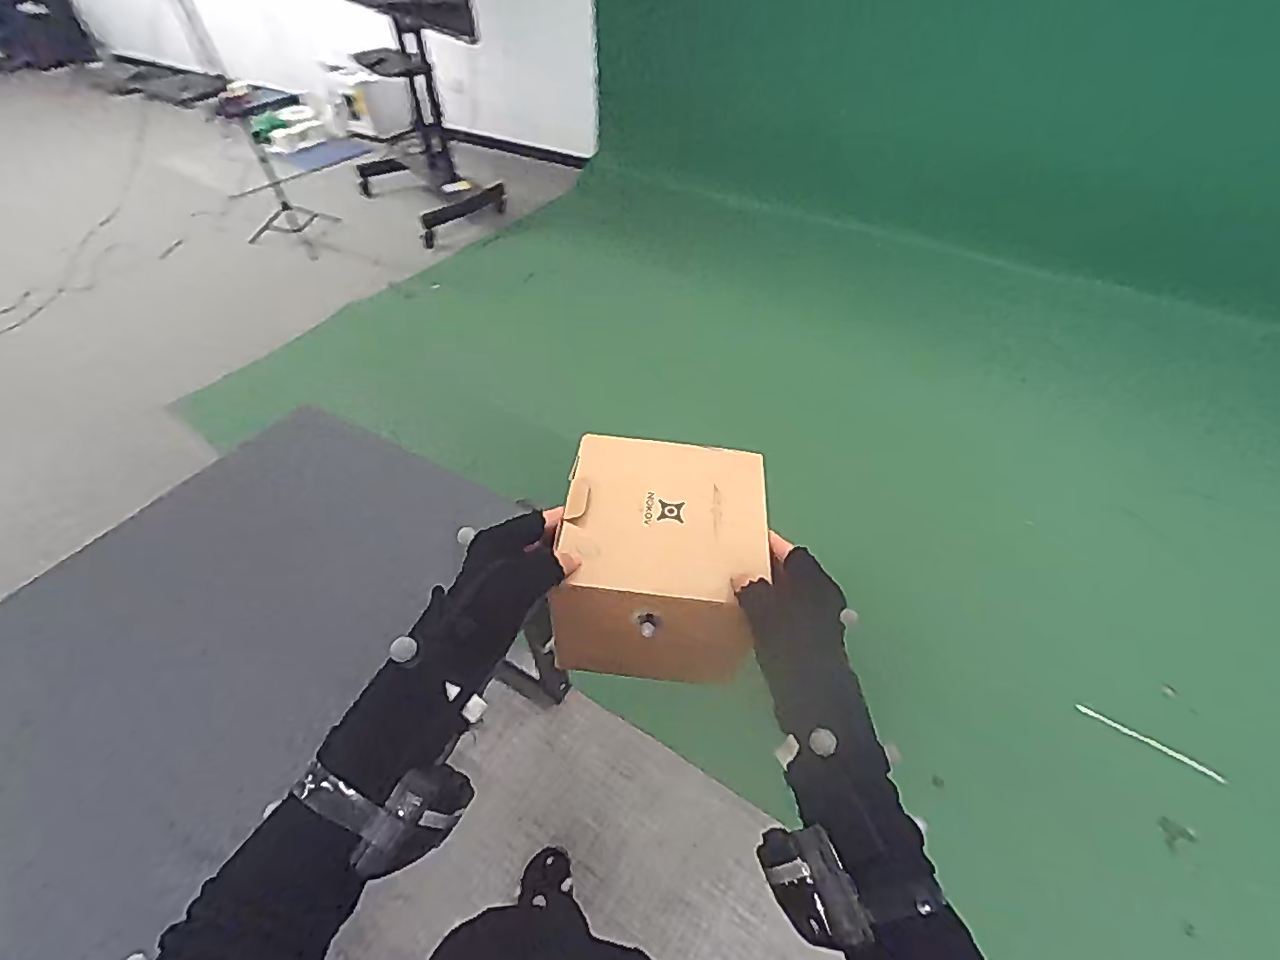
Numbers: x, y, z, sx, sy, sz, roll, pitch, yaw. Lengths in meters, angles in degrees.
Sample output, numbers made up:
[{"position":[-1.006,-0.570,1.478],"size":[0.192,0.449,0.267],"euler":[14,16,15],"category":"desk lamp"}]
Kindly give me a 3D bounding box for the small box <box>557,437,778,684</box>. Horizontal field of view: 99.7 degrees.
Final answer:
[{"position":[0.023,0.082,0.527],"size":[0.179,0.176,0.168],"euler":[8,49,0],"category":"small box"}]
